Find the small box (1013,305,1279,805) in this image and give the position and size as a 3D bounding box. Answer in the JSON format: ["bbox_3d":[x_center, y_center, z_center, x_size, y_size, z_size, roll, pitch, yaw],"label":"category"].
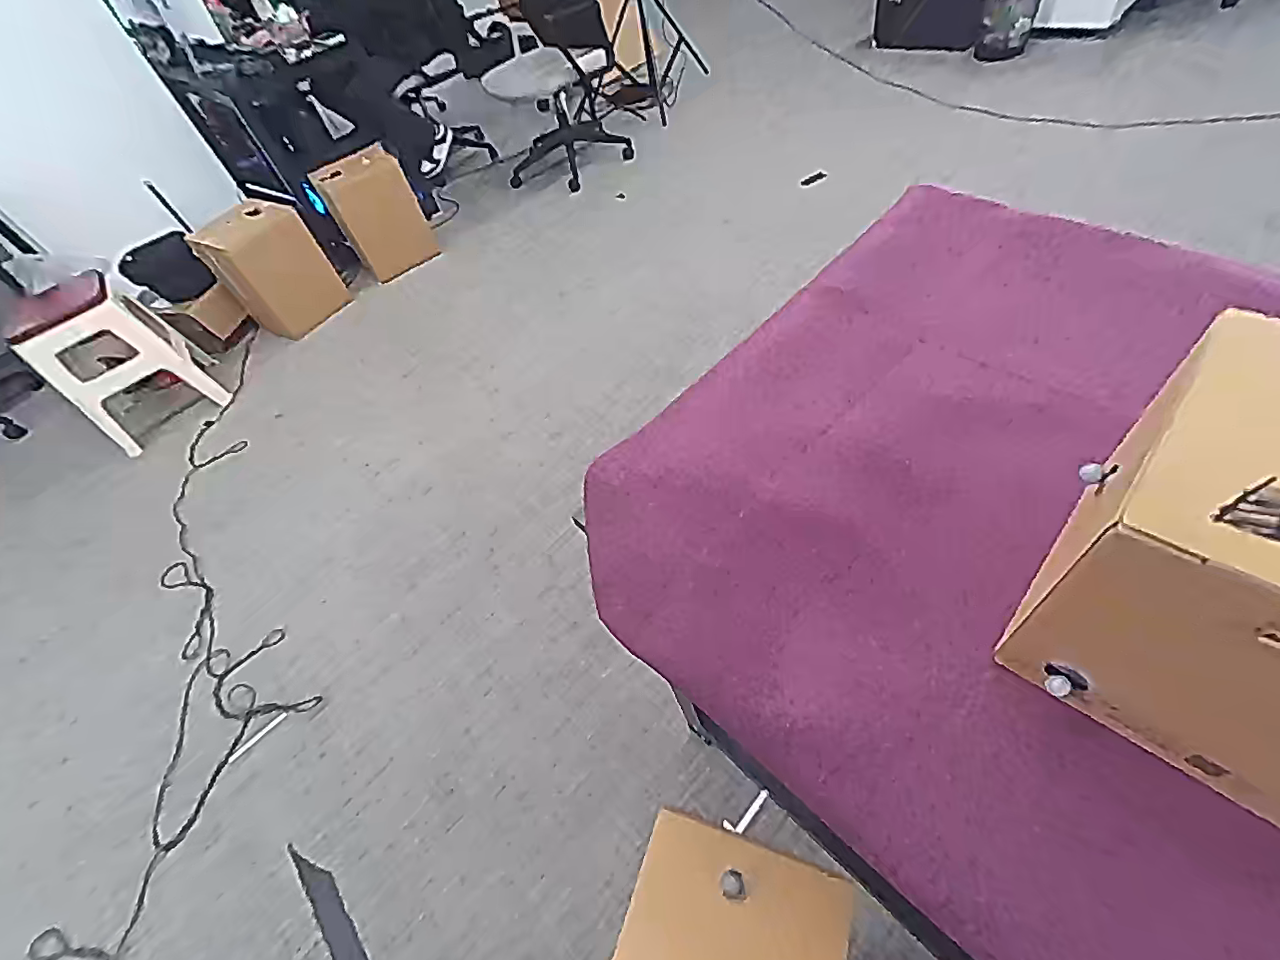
[{"bbox_3d":[0.338,0.044,0.289,0.168,0.176,0.179,32,63,31],"label":"small box"}]
